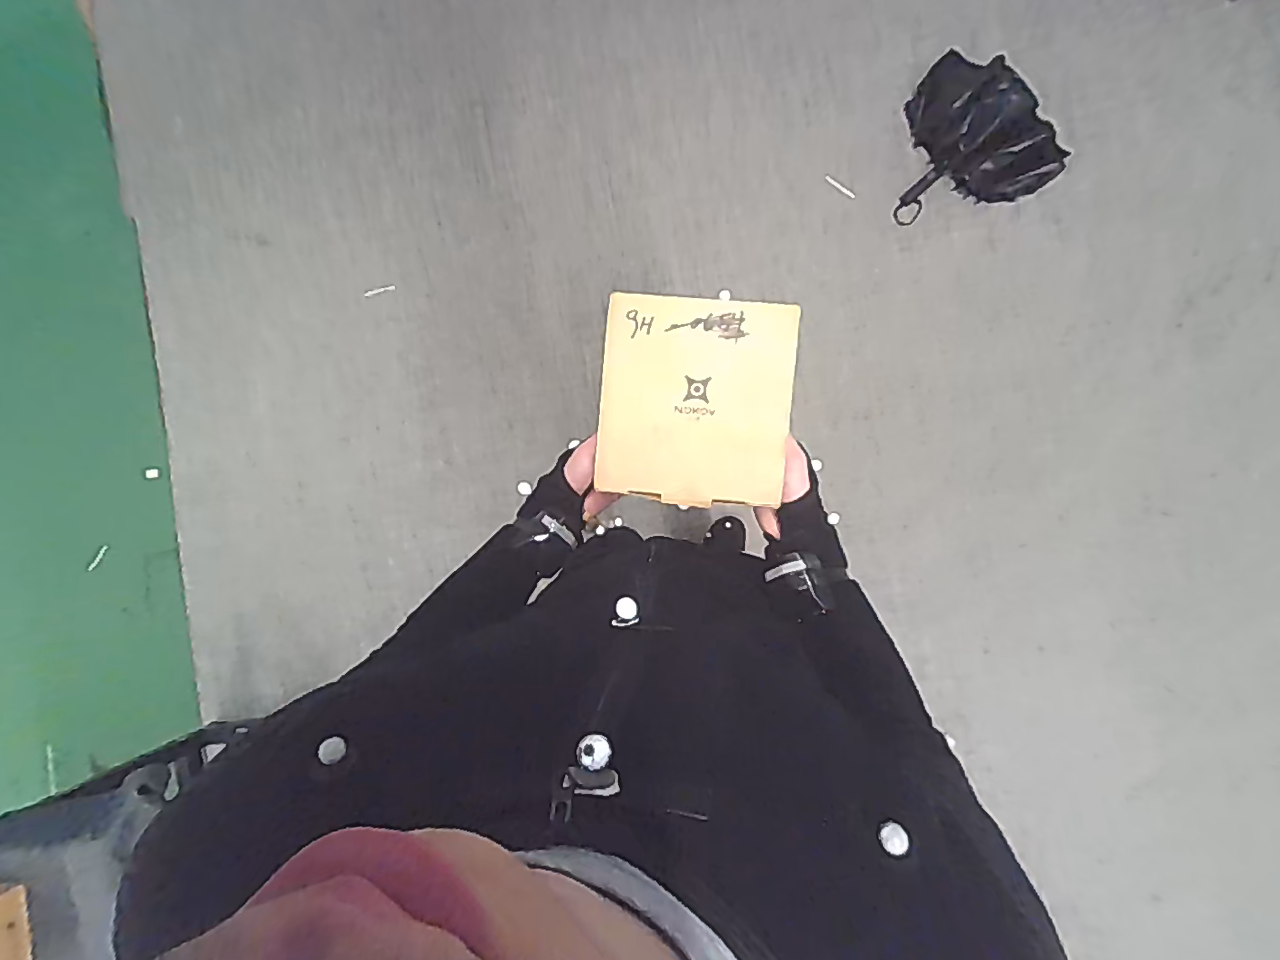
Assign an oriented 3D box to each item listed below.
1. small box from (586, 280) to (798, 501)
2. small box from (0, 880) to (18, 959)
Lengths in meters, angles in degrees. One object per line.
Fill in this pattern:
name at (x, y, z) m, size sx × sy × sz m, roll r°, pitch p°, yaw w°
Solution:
small box at (0.047, -0.080, 0.538) m, size 0.168 × 0.176 × 0.179 m, roll 6°, pitch 93°, yaw 2°
small box at (-1.259, 0.840, 0.951) m, size 0.179 × 0.176 × 0.168 m, roll -9°, pitch 86°, yaw 10°
